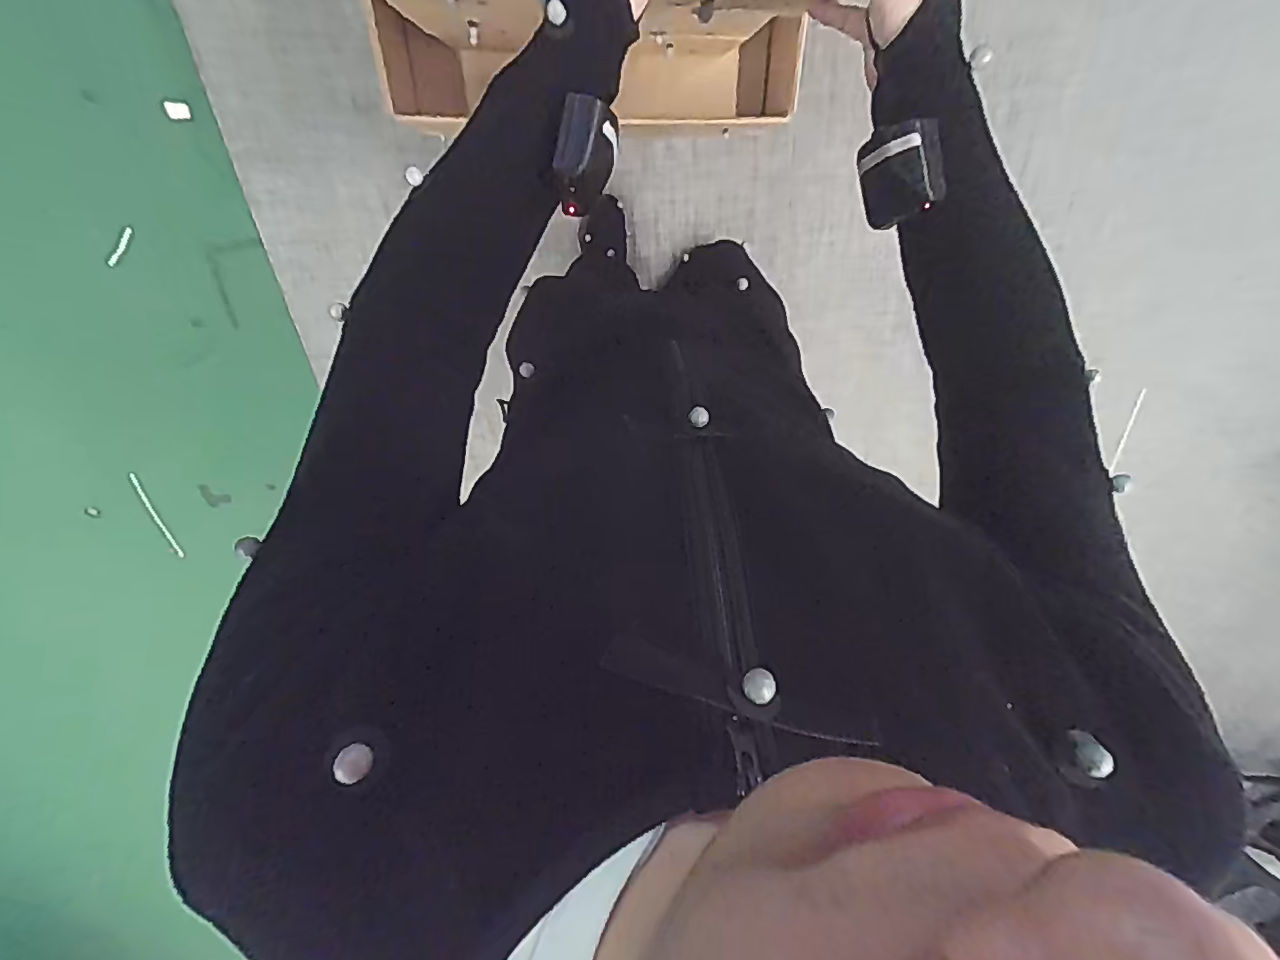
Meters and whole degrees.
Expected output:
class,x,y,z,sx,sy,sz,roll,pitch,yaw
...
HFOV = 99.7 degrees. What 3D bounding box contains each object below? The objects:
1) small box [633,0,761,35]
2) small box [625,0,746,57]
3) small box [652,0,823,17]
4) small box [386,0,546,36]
class,x,y,z,sx,sy,sz,roll,pitch,yaw
small box,0.076,-0.648,0.634,0.168,0.176,0.179,-2,119,-3
small box,0.065,-0.729,0.776,0.168,0.176,0.179,-1,120,-3
small box,0.090,-0.510,0.439,0.168,0.176,0.179,2,124,-5
small box,-0.199,-0.635,0.619,0.168,0.176,0.179,-1,120,-5
